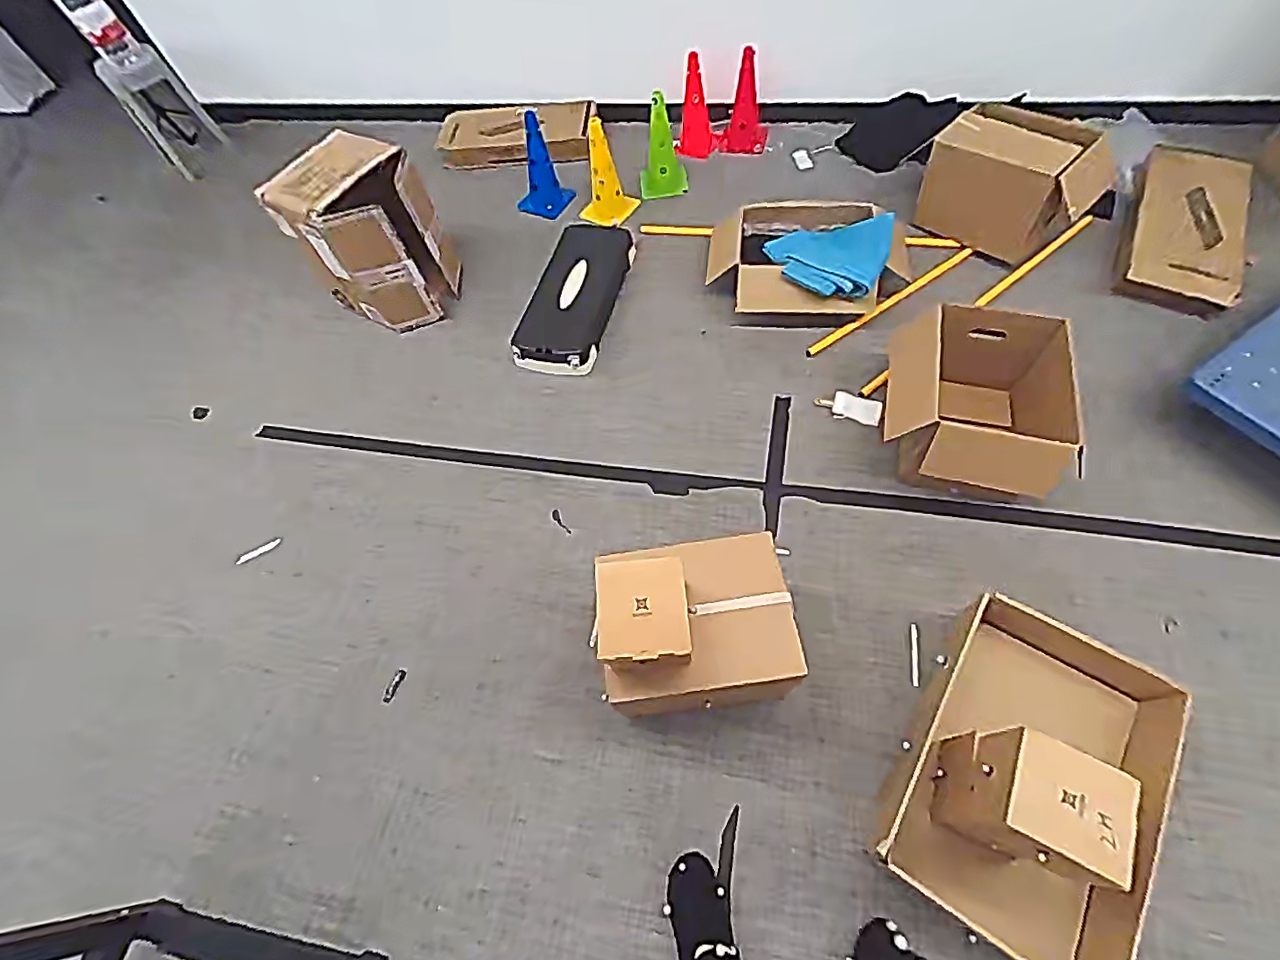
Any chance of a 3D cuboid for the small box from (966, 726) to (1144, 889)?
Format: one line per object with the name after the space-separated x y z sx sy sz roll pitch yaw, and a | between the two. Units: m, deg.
0.692 0.551 0.920 0.179 0.176 0.168 25 64 18 | small box
